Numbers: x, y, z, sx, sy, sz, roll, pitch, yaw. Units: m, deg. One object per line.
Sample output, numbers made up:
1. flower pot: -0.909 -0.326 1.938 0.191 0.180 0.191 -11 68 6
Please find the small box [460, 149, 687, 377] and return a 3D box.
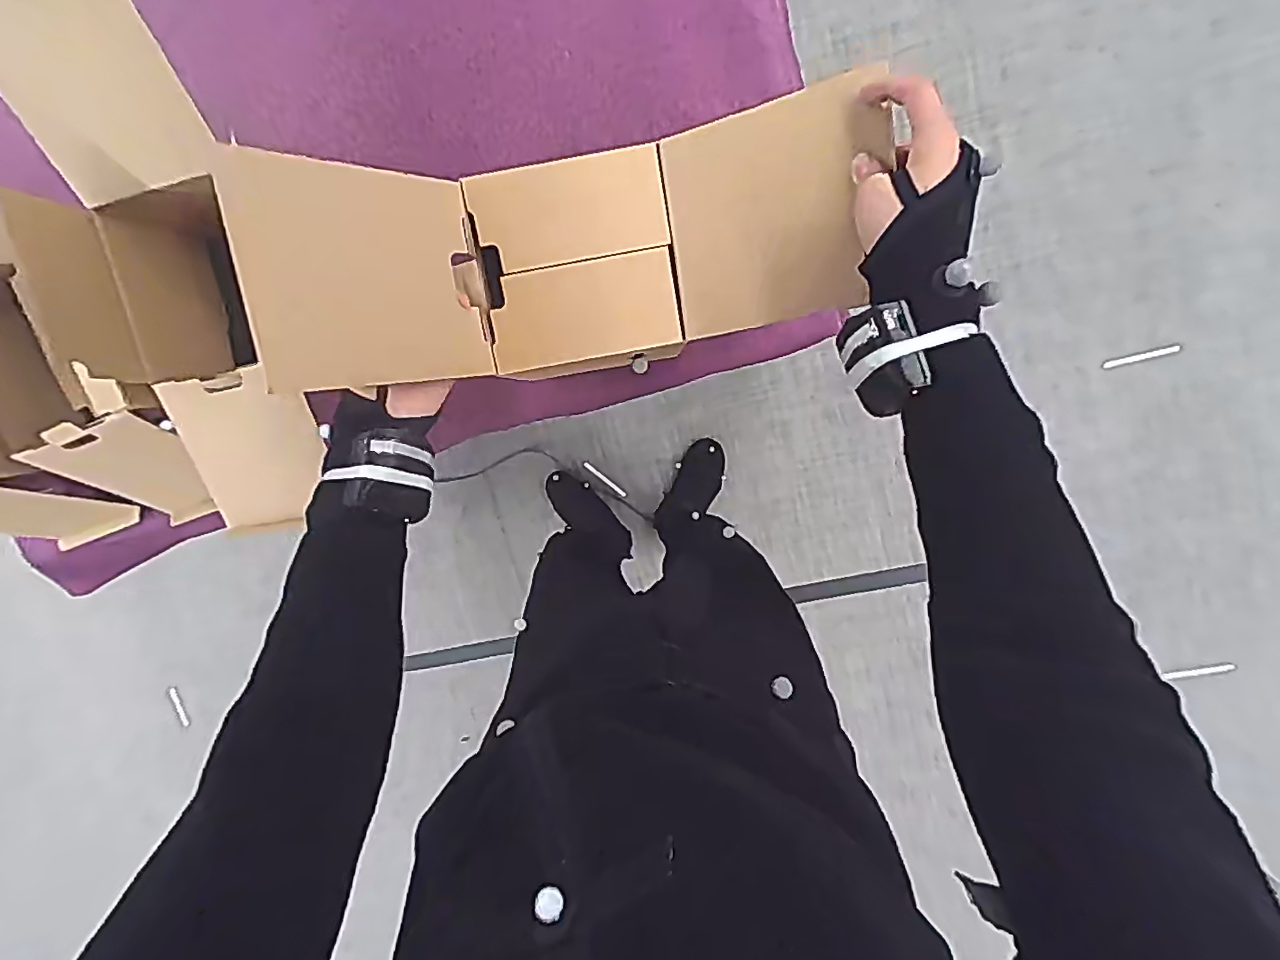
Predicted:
1. small box: -0.055 -0.197 0.540 0.179 0.176 0.168 -8 98 2
